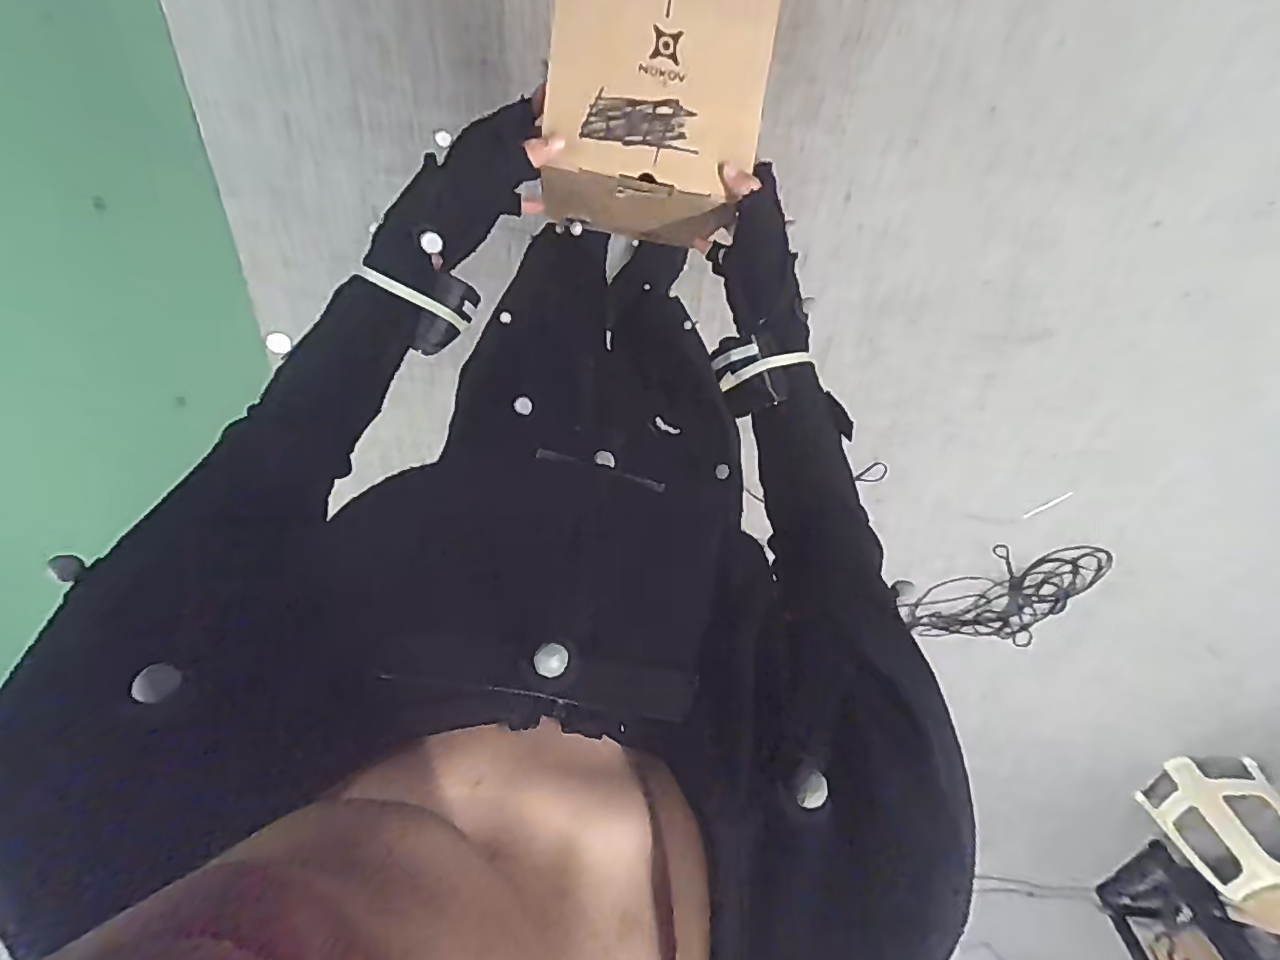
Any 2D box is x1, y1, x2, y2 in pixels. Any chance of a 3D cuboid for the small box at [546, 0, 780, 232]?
[{"bbox_3d":[0.010,-0.344,0.490,0.168,0.176,0.179,7,100,-10],"label":"small box"}]
